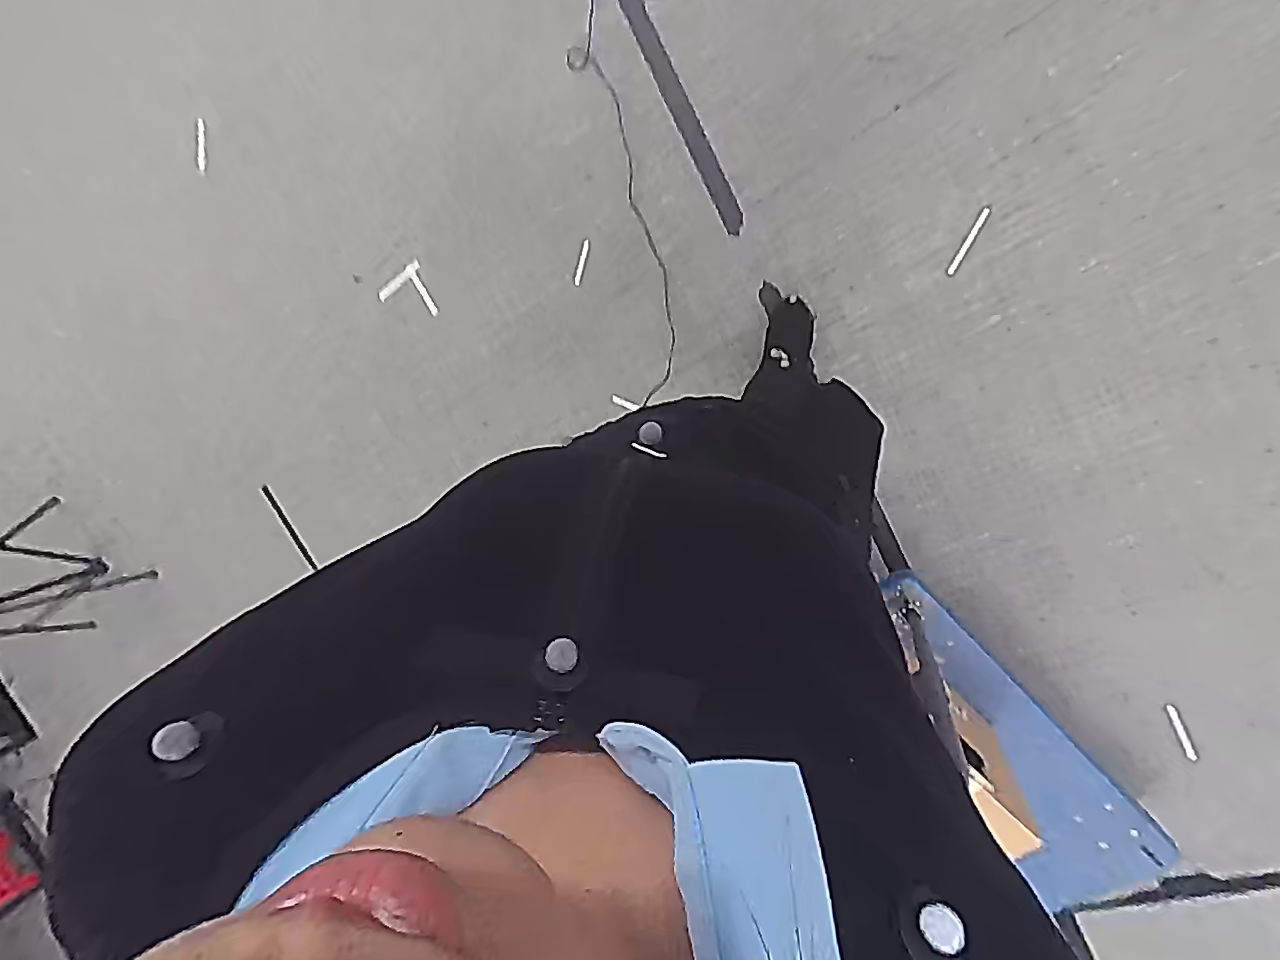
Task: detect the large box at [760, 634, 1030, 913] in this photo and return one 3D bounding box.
[{"bbox_3d":[0.525,0.629,1.197,0.320,0.320,0.408,43,113,4],"label":"large box"}]
